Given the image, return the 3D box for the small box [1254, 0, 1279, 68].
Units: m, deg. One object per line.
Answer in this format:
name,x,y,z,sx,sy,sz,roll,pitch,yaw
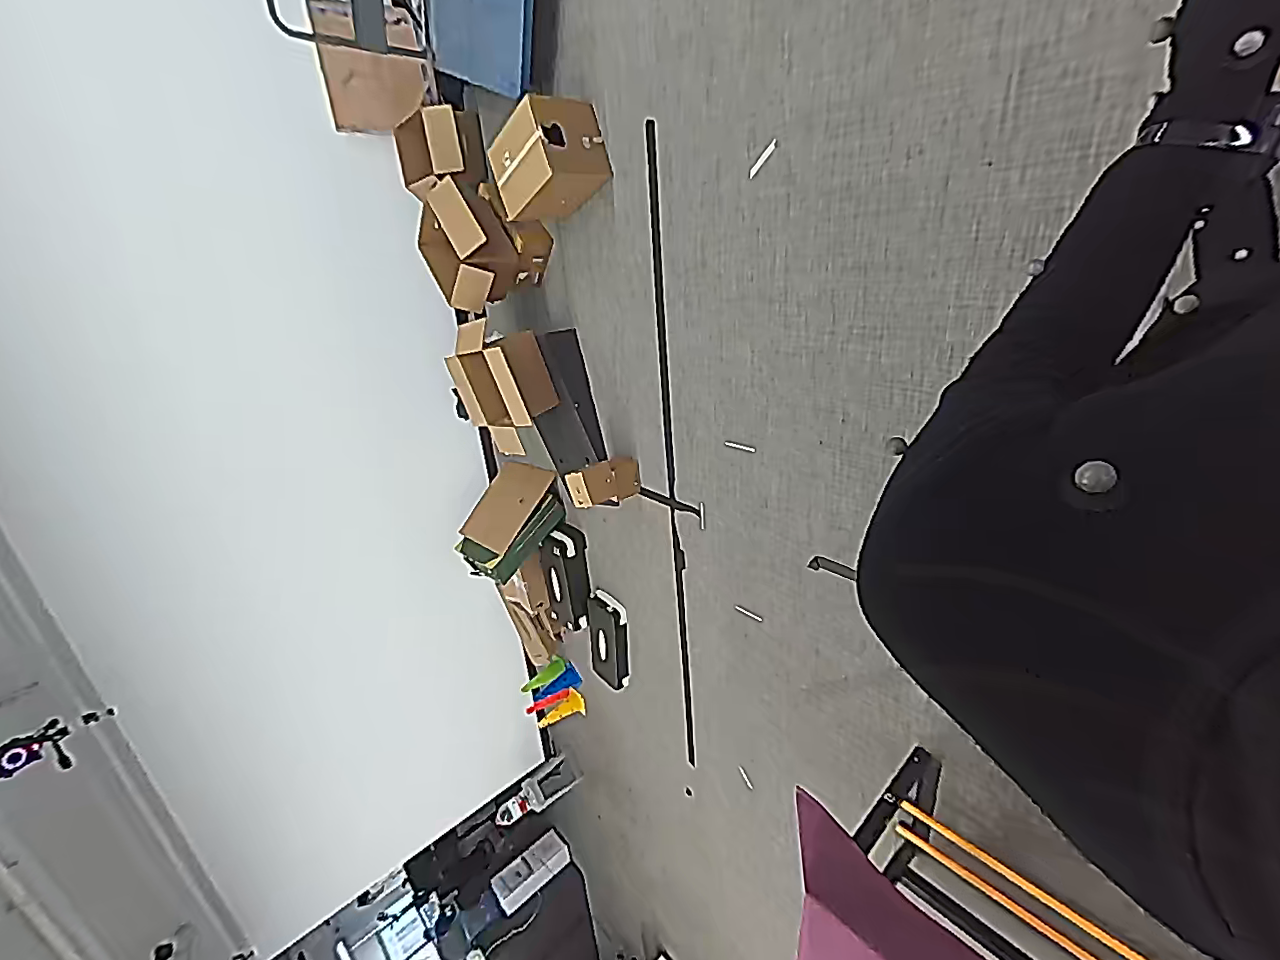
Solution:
small box,1.123,-0.776,0.847,0.179,0.176,0.168,19,123,46
